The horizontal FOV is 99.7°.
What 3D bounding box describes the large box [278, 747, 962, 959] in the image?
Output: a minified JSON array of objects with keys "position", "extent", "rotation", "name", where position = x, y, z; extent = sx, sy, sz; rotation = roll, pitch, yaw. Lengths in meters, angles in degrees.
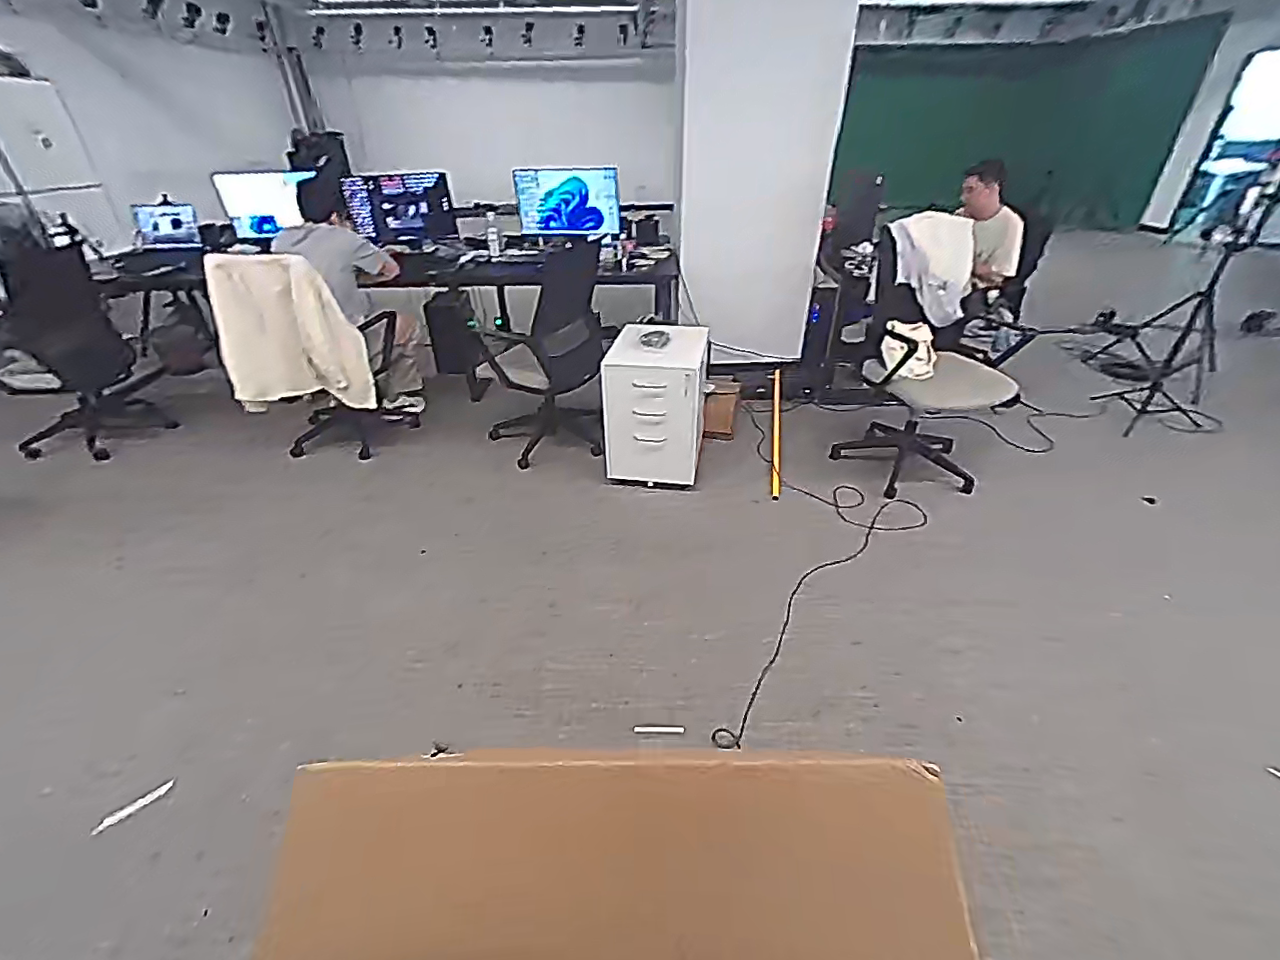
[{"position":[-0.011,0.385,0.425],"extent":[0.408,0.320,0.320],"rotation":[-1,66,2],"name":"large box"}]
